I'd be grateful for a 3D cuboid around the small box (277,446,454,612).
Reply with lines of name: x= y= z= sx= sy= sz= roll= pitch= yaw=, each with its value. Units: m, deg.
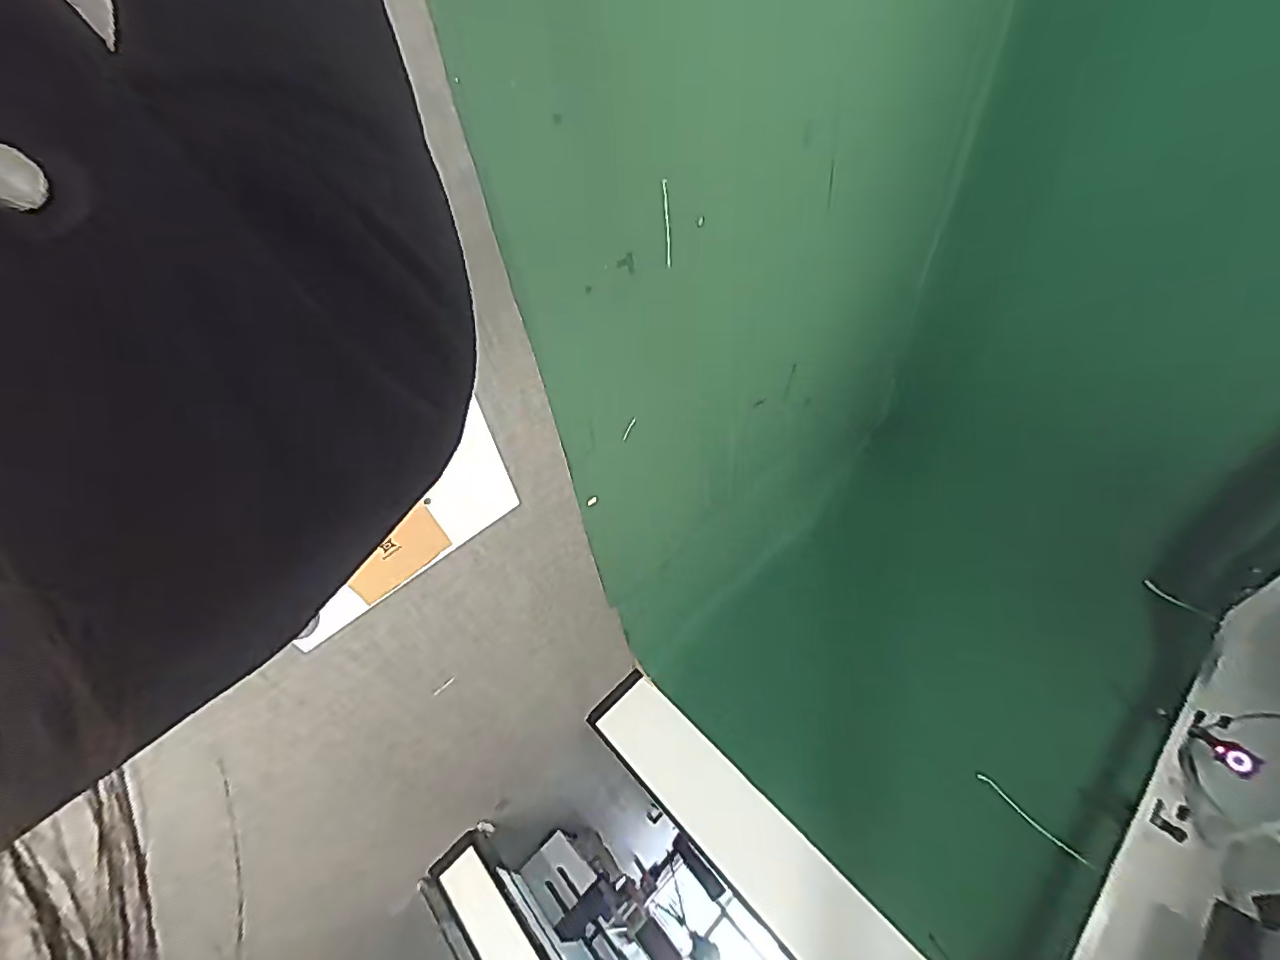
small box: x=-0.447 y=0.075 z=0.889 sx=0.168 sy=0.176 sz=0.179 roll=-40 pitch=143 yaw=-21
